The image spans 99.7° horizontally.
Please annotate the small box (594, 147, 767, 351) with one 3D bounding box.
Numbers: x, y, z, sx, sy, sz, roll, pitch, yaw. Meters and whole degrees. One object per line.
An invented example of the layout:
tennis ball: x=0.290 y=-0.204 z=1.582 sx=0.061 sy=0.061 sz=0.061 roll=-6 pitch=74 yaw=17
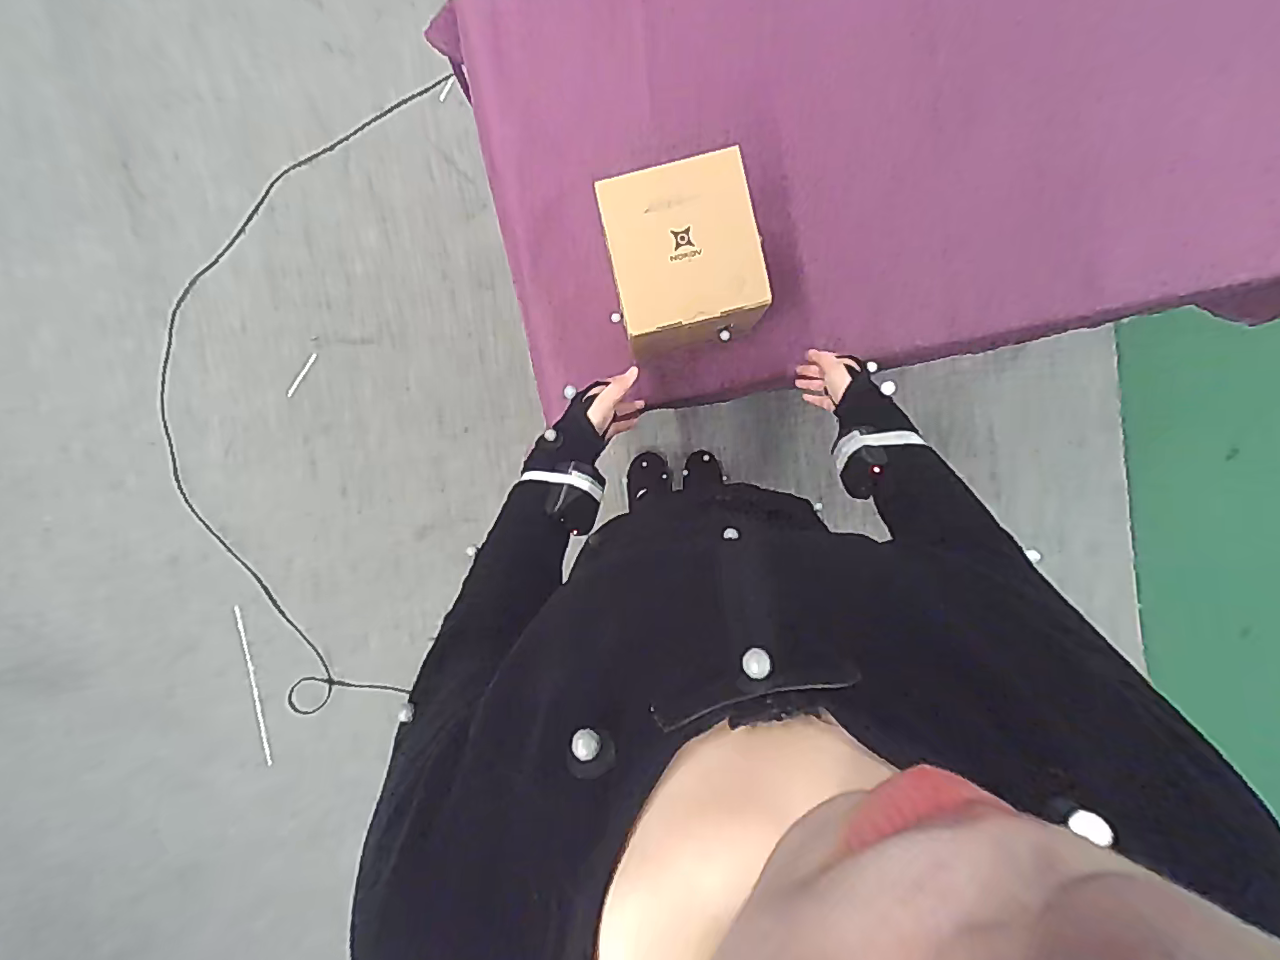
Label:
small box: x=0.048 y=-0.269 z=0.677 sx=0.168 sy=0.176 sz=0.179 roll=-13 pitch=92 yaw=1
